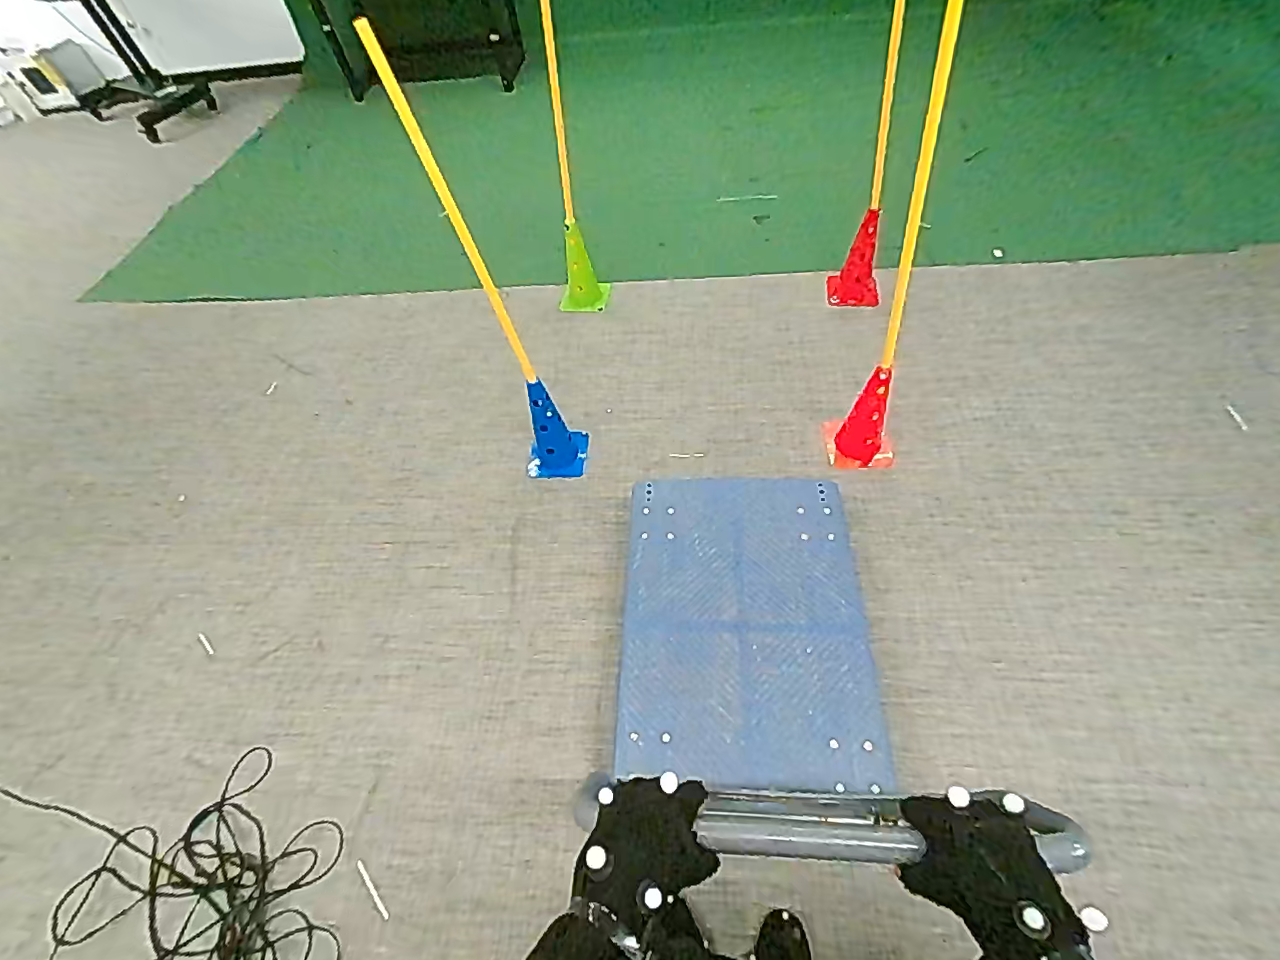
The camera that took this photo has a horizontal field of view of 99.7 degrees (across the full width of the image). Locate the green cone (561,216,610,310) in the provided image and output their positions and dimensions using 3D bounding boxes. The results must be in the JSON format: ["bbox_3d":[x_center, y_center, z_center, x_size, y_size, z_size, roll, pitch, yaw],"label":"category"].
[{"bbox_3d":[-0.256,-0.918,2.255,0.202,0.368,0.200,3,55,9],"label":"green cone"}]

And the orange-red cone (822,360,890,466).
[{"bbox_3d":[0.700,-0.224,1.669,0.199,0.360,0.198,-2,54,7],"label":"orange-red cone"}]
